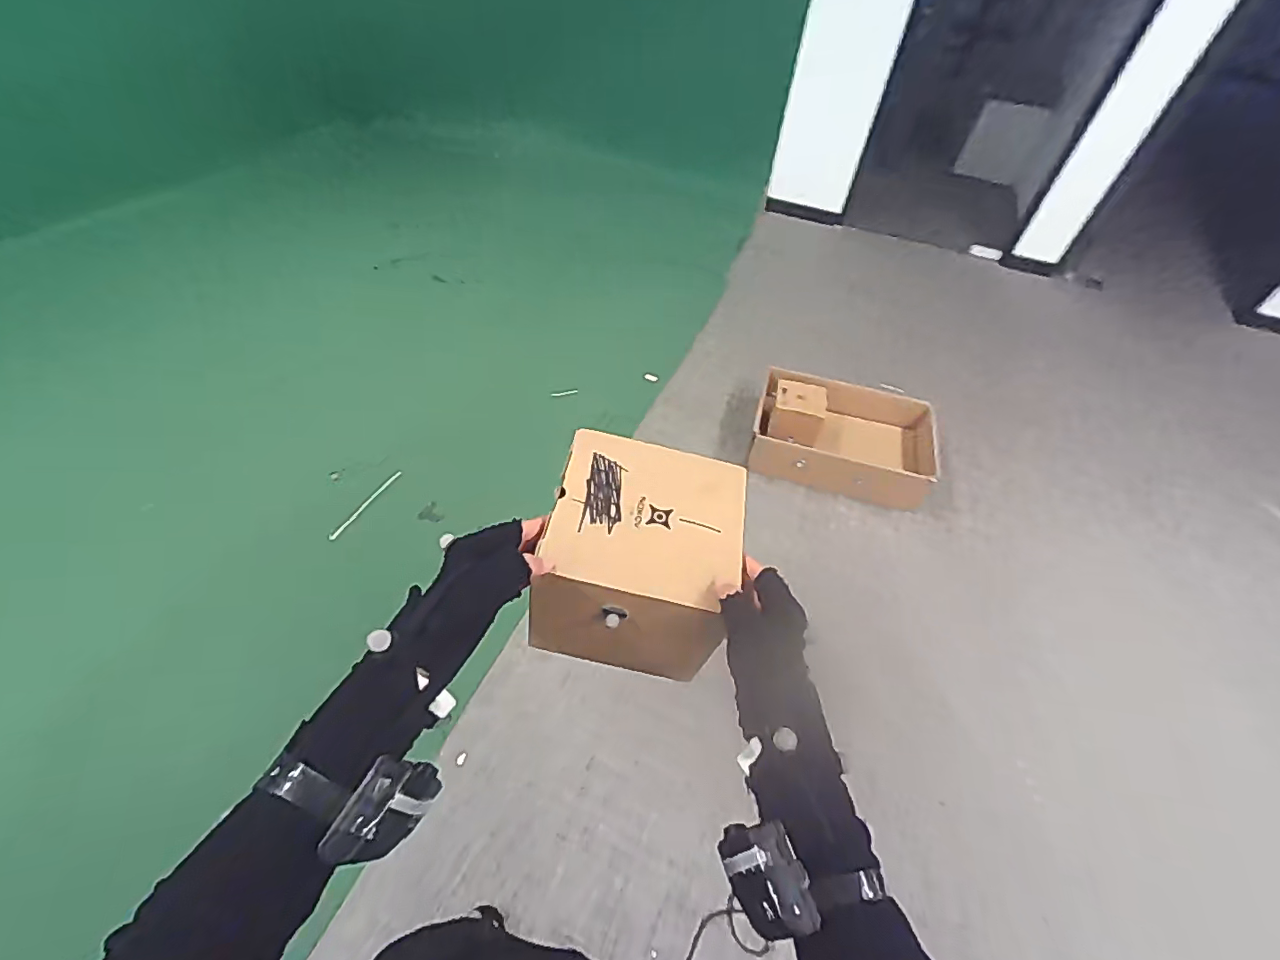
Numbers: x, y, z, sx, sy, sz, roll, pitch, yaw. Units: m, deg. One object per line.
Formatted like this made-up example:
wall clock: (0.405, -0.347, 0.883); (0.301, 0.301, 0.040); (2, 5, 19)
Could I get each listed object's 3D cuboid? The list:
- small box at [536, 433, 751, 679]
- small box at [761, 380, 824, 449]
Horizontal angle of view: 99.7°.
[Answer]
small box: (-0.001, 0.083, 0.550); (0.179, 0.176, 0.168); (15, 51, -2)
small box: (0.560, -0.237, 1.987); (0.179, 0.176, 0.168); (14, 50, 5)
